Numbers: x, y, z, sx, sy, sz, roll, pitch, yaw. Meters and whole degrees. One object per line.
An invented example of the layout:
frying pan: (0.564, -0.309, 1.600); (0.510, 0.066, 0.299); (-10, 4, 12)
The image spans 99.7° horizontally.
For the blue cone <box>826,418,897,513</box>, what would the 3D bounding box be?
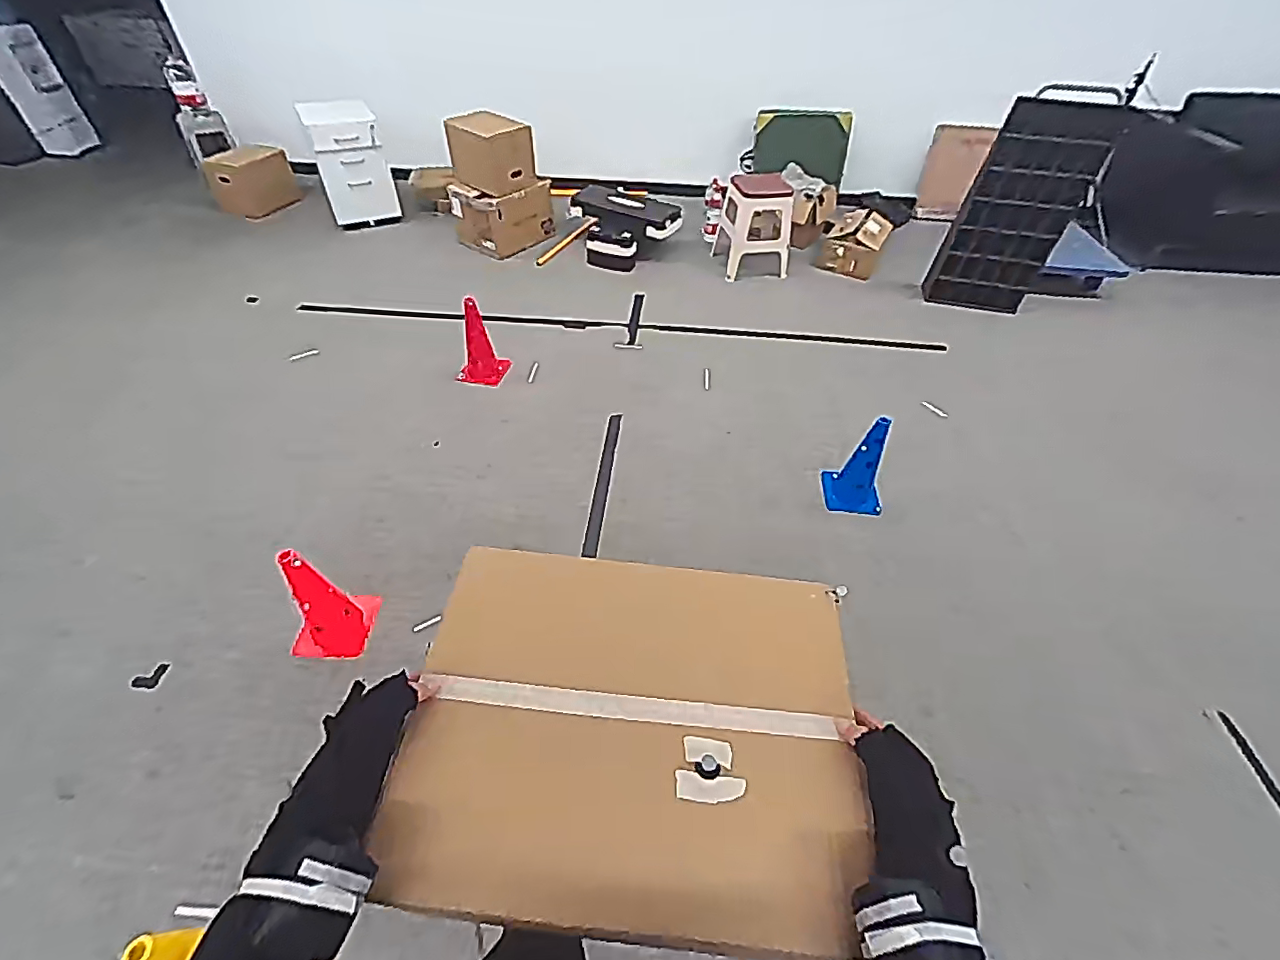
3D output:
blue cone: (0.810, -0.066, 1.918); (0.192, 0.380, 0.193); (8, 47, 3)

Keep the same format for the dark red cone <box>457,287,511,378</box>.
dark red cone: (-0.698, -0.643, 2.344); (0.201, 0.394, 0.202); (10, 47, 5)

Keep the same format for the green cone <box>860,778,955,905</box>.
green cone: (0.560, 0.718, 1.140); (0.202, 0.368, 0.200); (-23, 52, -24)

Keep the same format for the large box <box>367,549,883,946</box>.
large box: (-0.011, 0.307, 0.616); (0.408, 0.320, 0.320); (6, 49, 1)

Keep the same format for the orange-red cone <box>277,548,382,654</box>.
orange-red cone: (-0.883, 0.304, 1.471); (0.198, 0.360, 0.199); (2, 48, 1)
